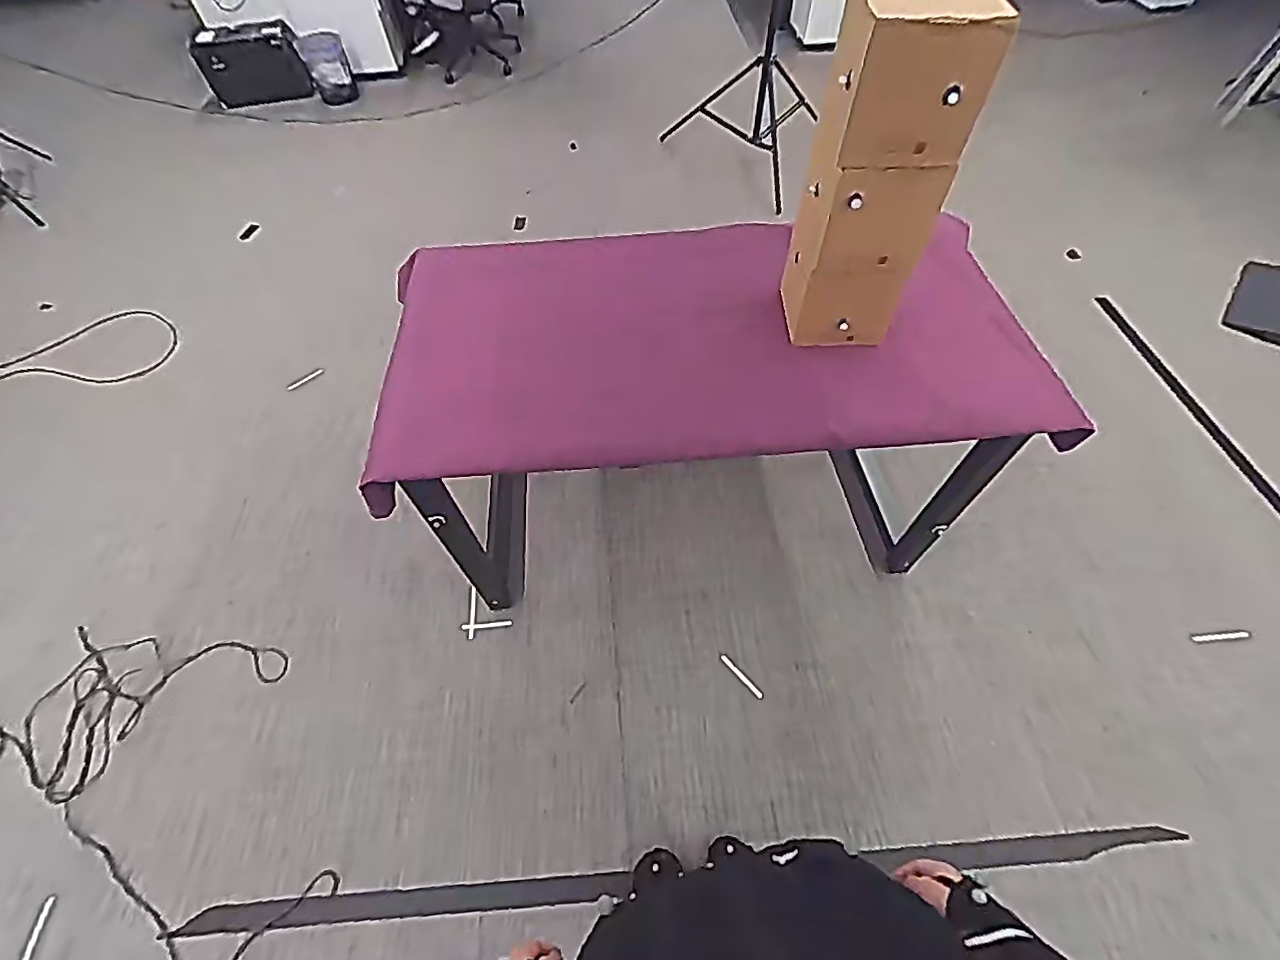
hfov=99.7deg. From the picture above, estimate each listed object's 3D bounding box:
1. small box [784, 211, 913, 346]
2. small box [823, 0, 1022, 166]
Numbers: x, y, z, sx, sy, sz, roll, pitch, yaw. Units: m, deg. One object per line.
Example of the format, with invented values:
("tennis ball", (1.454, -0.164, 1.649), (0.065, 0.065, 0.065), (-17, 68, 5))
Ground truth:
("small box", (0.370, -0.371, 0.999), (0.168, 0.176, 0.179), (0, 57, 3))
("small box", (0.357, -0.545, 0.723), (0.168, 0.176, 0.179), (2, 56, 2))
